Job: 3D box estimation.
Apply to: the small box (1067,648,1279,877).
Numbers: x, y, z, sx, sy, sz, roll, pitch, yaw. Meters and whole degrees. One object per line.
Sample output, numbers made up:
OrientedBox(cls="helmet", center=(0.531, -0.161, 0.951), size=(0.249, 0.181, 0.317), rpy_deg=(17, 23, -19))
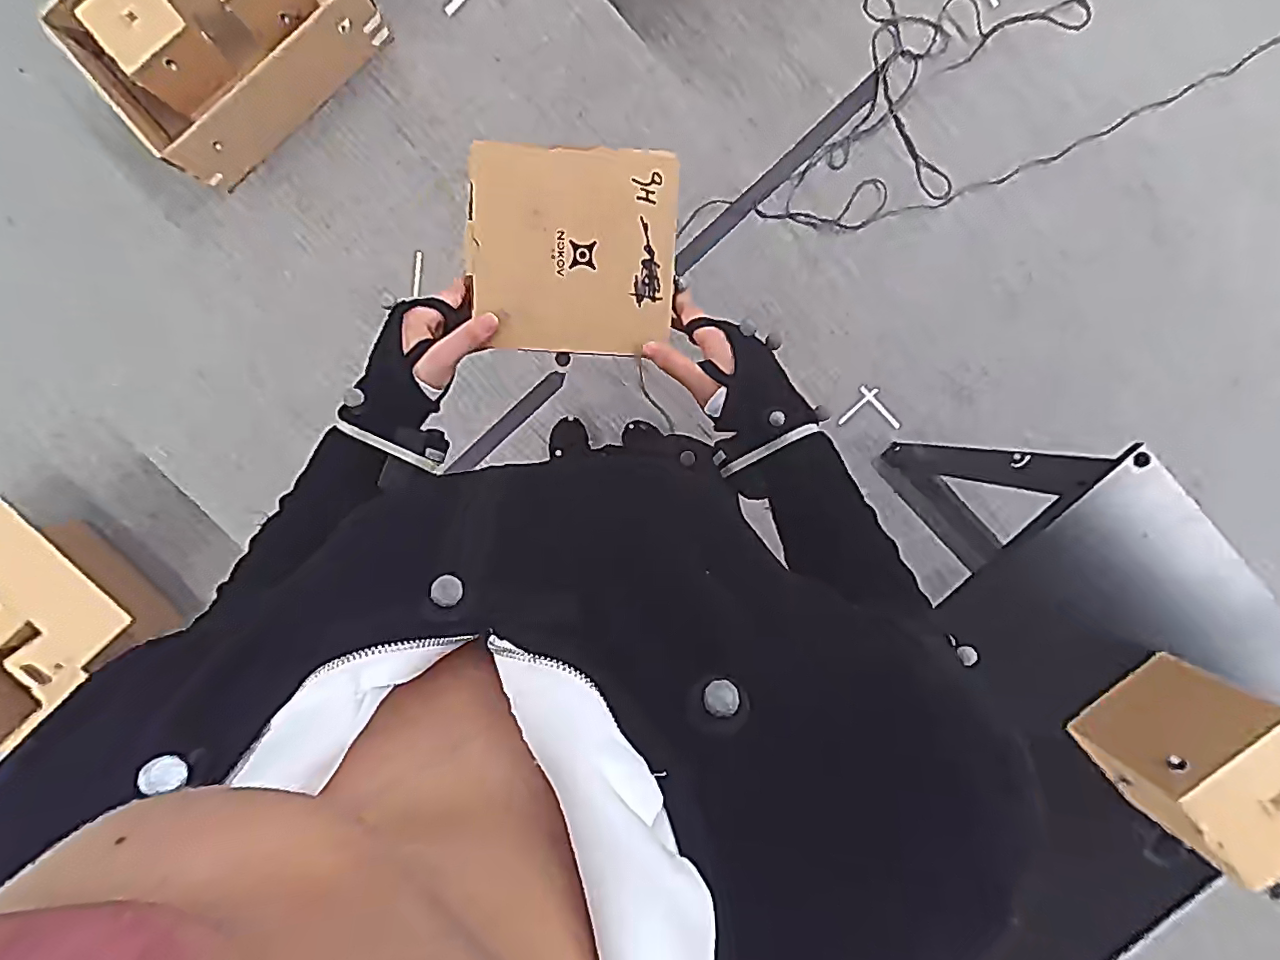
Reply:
OrientedBox(cls="small box", center=(0.746, 0.361, 0.728), size=(0.179, 0.176, 0.168), rpy_deg=(-42, 95, 4))

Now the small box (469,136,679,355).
OrientedBox(cls="small box", center=(-0.058, -0.215, 0.541), size=(0.179, 0.176, 0.168), rpy_deg=(4, 102, -1))

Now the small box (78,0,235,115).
OrientedBox(cls="small box", center=(-1.110, -1.007, 1.259), size=(0.179, 0.176, 0.168), rpy_deg=(-39, 97, 2))
